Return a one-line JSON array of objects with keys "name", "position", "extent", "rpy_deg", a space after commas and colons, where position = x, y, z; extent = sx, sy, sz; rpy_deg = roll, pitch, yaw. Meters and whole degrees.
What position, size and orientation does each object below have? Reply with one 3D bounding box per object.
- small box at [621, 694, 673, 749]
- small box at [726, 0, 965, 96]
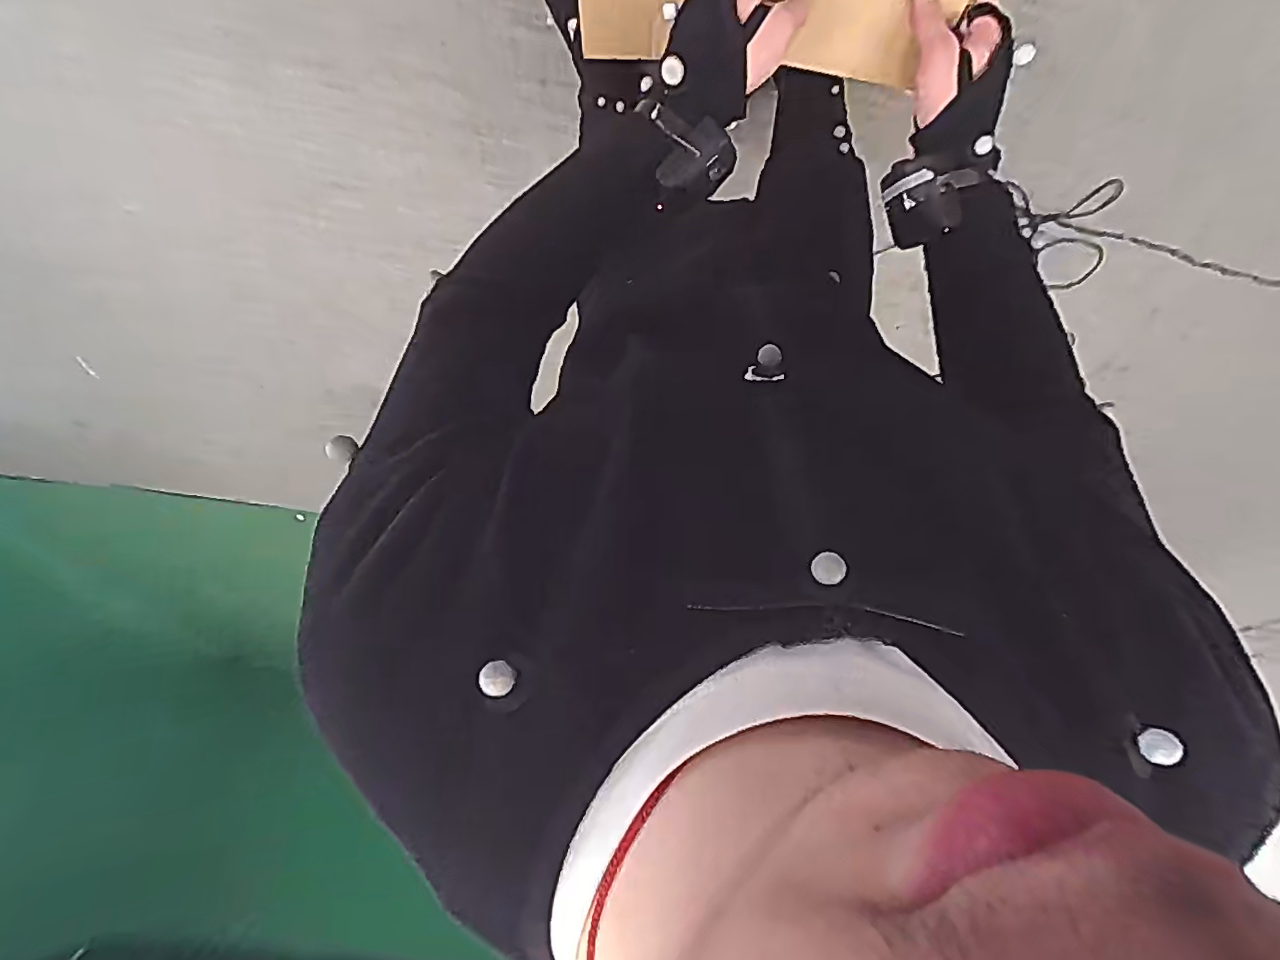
[{"name": "small box", "position": [0.029, 0.989, 2.220], "extent": [0.179, 0.176, 0.168], "rpy_deg": [10, 145, -6]}, {"name": "small box", "position": [0.179, -0.462, 0.453], "extent": [0.179, 0.176, 0.168], "rpy_deg": [8, 143, -5]}]
